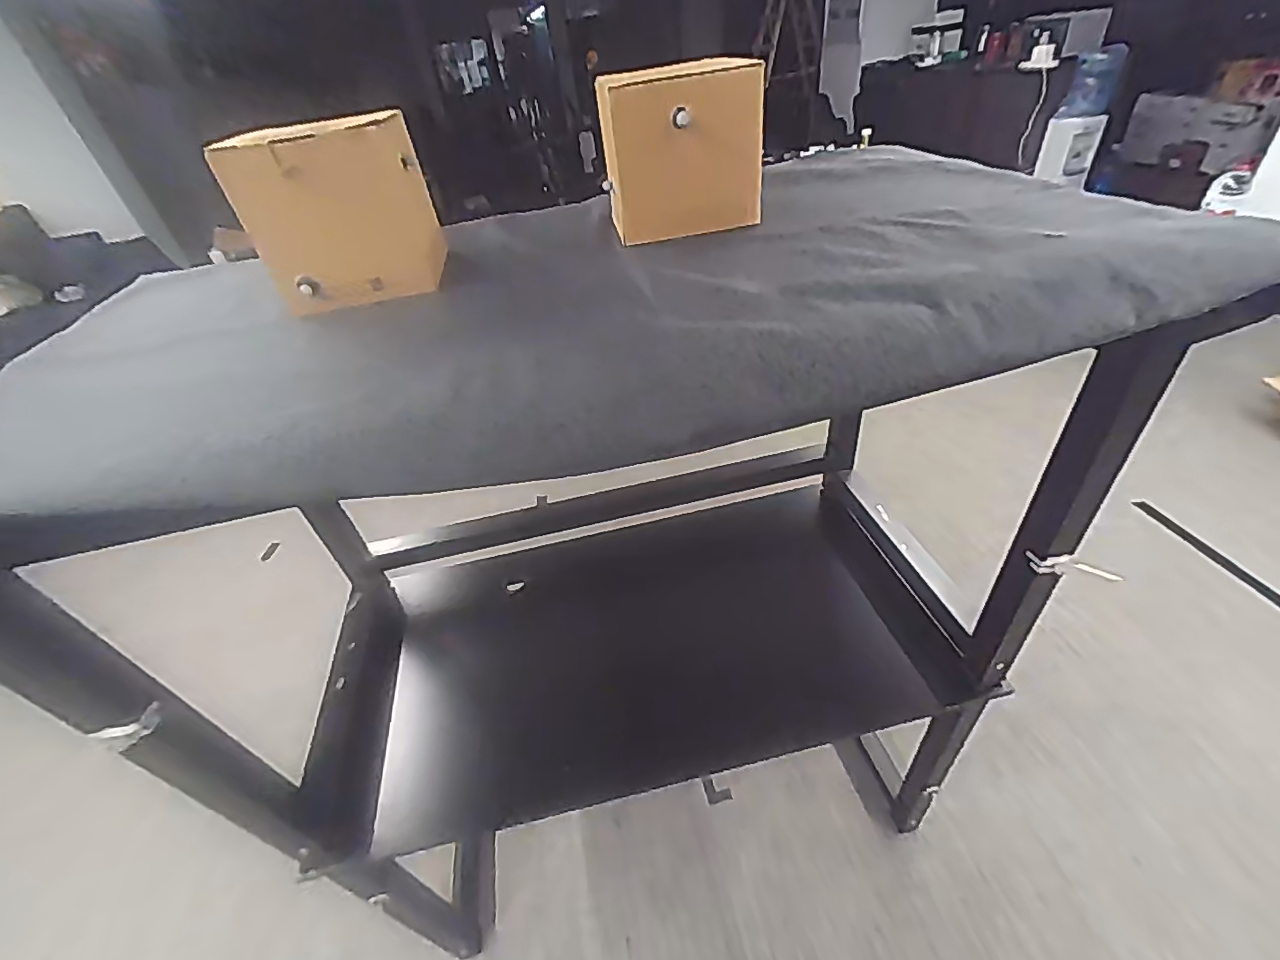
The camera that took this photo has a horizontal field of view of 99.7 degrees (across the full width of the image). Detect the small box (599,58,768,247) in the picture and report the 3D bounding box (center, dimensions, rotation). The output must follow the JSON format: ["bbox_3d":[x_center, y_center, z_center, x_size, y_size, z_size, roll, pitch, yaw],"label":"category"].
[{"bbox_3d":[0.052,-0.417,0.688,0.179,0.176,0.168,-11,39,-1],"label":"small box"}]

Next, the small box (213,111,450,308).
[{"bbox_3d":[-0.337,-0.315,0.637,0.168,0.176,0.179,-12,38,-4],"label":"small box"}]
